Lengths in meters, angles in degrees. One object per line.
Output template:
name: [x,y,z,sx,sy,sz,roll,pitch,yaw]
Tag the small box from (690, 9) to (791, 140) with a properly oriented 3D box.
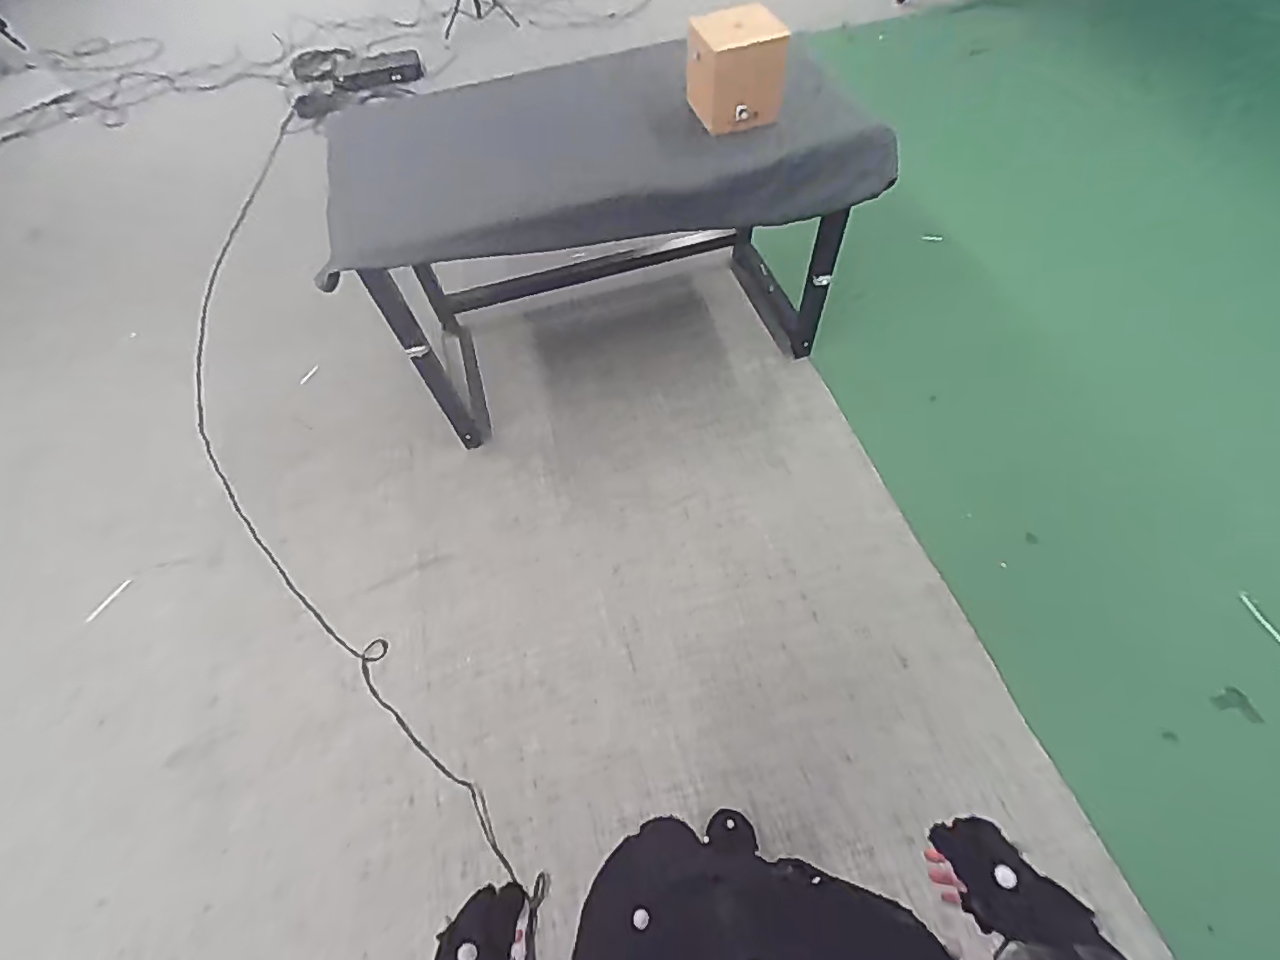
small box: [0.212,-0.895,1.198,0.168,0.176,0.179,-17,60,-4]
